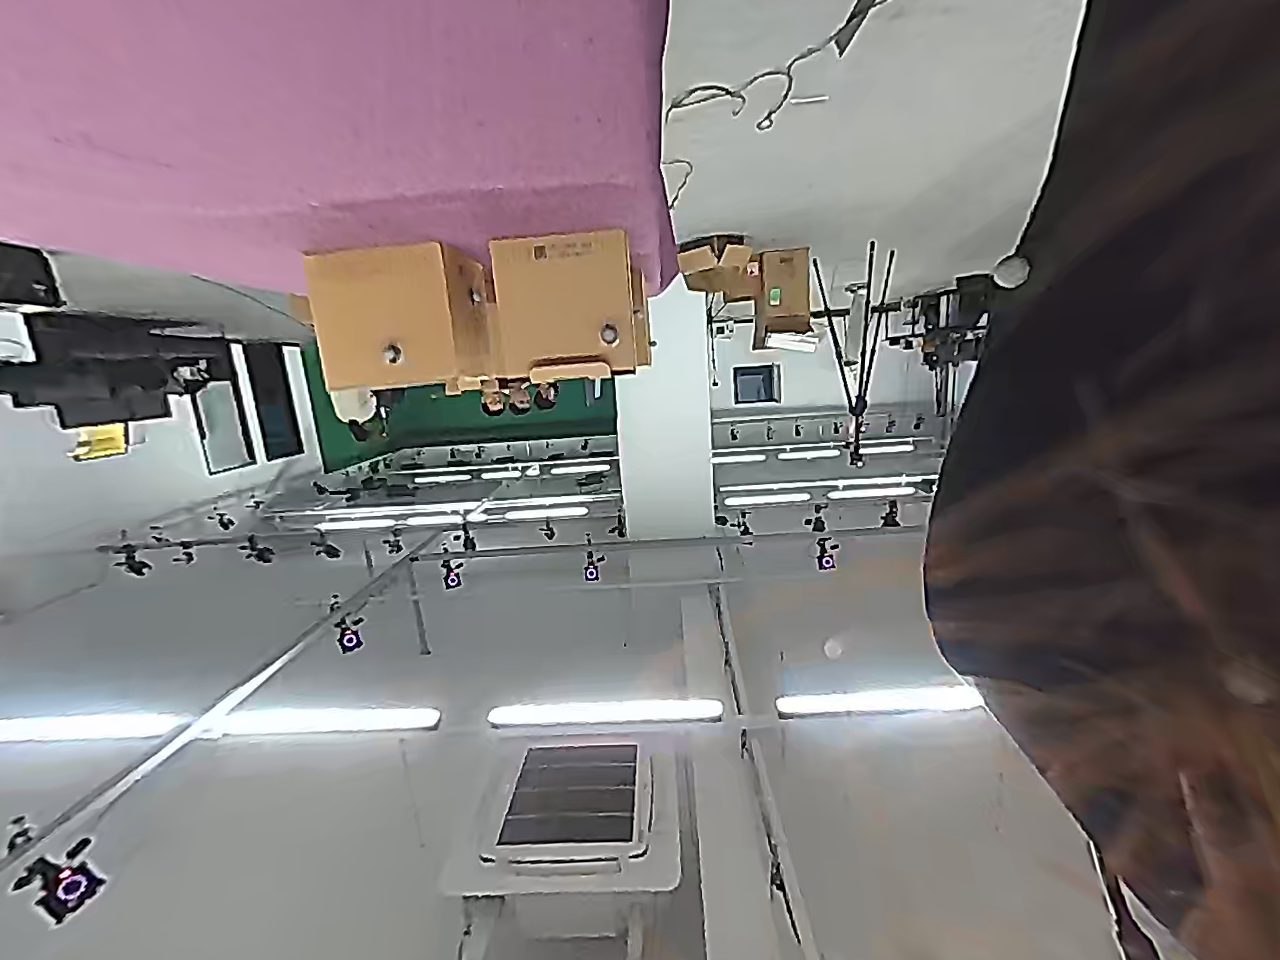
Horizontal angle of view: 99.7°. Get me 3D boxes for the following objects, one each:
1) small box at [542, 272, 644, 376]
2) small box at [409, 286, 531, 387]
[{"bbox_3d":[-0.079,-0.289,1.014,0.168,0.176,0.179,-4,-168,4],"label":"small box"},{"bbox_3d":[-0.319,-0.273,1.041,0.168,0.176,0.179,-4,-169,6],"label":"small box"}]
